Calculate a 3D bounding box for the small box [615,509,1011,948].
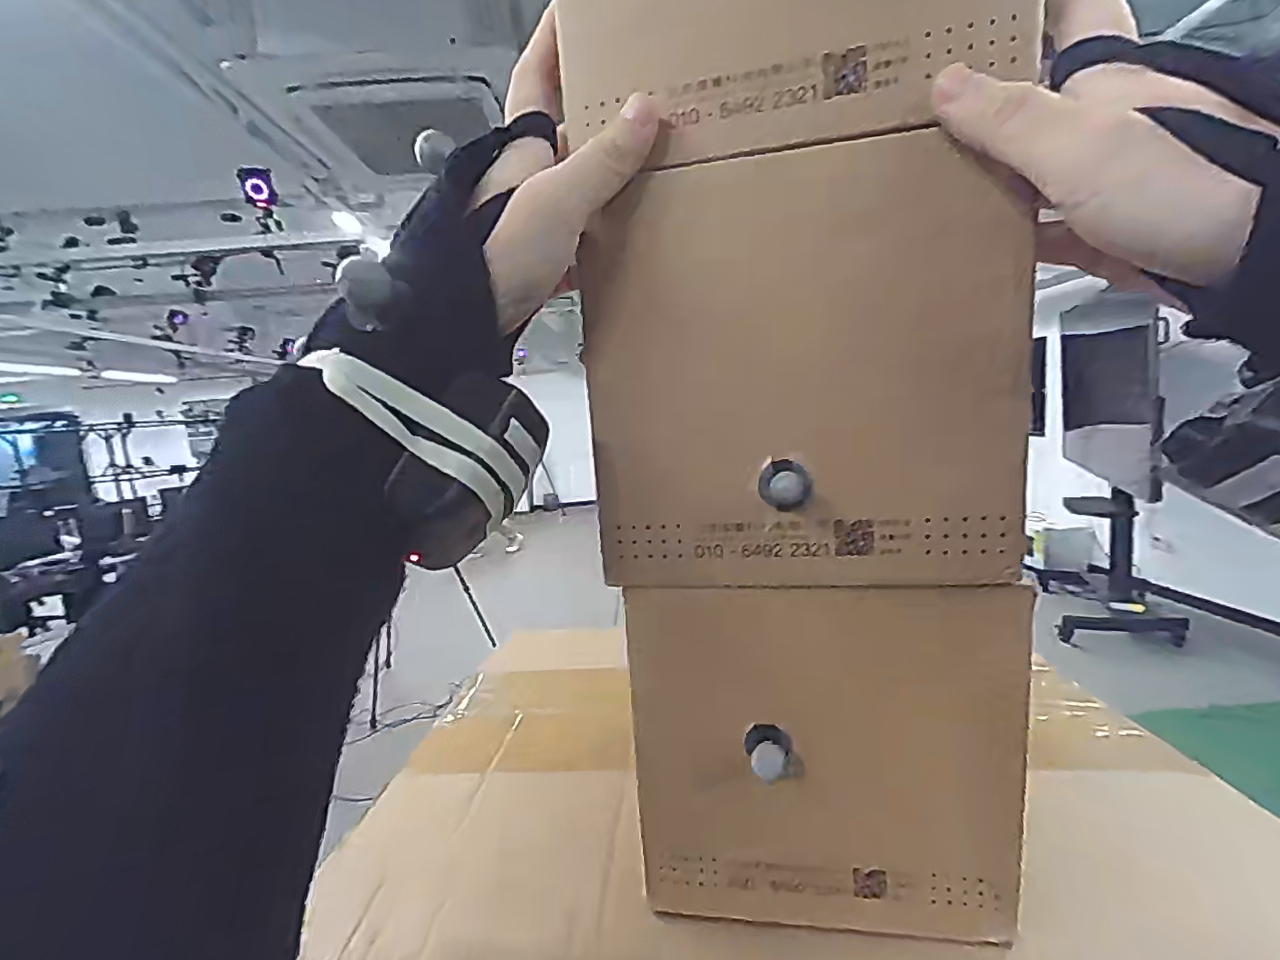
[{"bbox_3d":[0.089,0.119,0.318,0.168,0.176,0.179,-2,8,10],"label":"small box"}]
